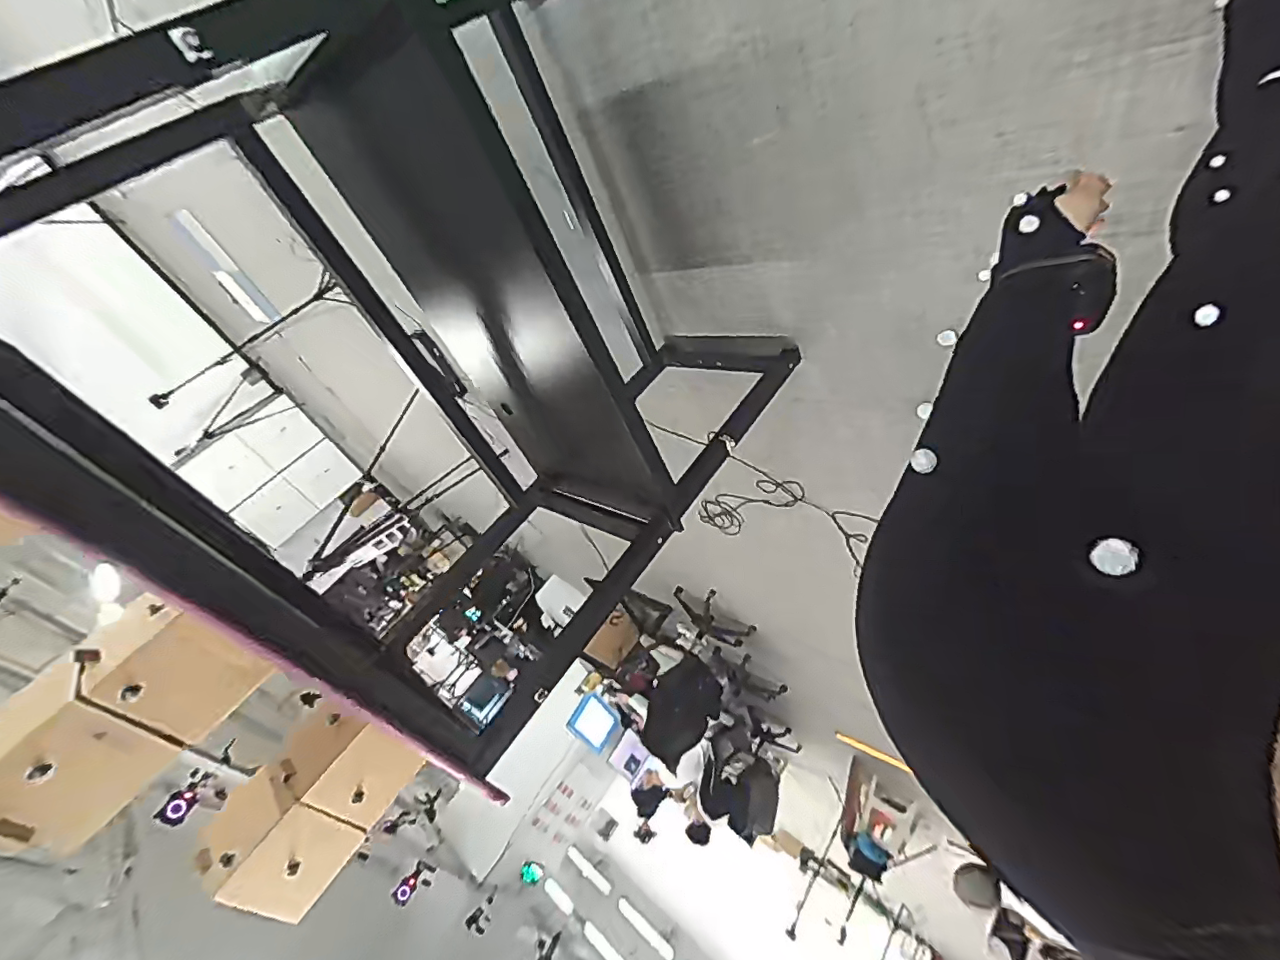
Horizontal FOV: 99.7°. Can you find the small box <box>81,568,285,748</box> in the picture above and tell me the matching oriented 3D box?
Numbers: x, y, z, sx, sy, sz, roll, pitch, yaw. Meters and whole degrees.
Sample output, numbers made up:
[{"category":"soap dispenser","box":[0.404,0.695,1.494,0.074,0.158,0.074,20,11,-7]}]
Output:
[{"category":"small box","box":[-0.704,0.271,0.846,0.168,0.176,0.179,17,146,43]}]

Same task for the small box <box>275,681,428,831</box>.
[{"category":"small box","box":[-0.552,0.529,1.052,0.168,0.176,0.179,14,144,42]}]

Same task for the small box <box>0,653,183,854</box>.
[{"category":"small box","box":[-0.804,0.378,0.776,0.179,0.176,0.168,16,144,46]}]
